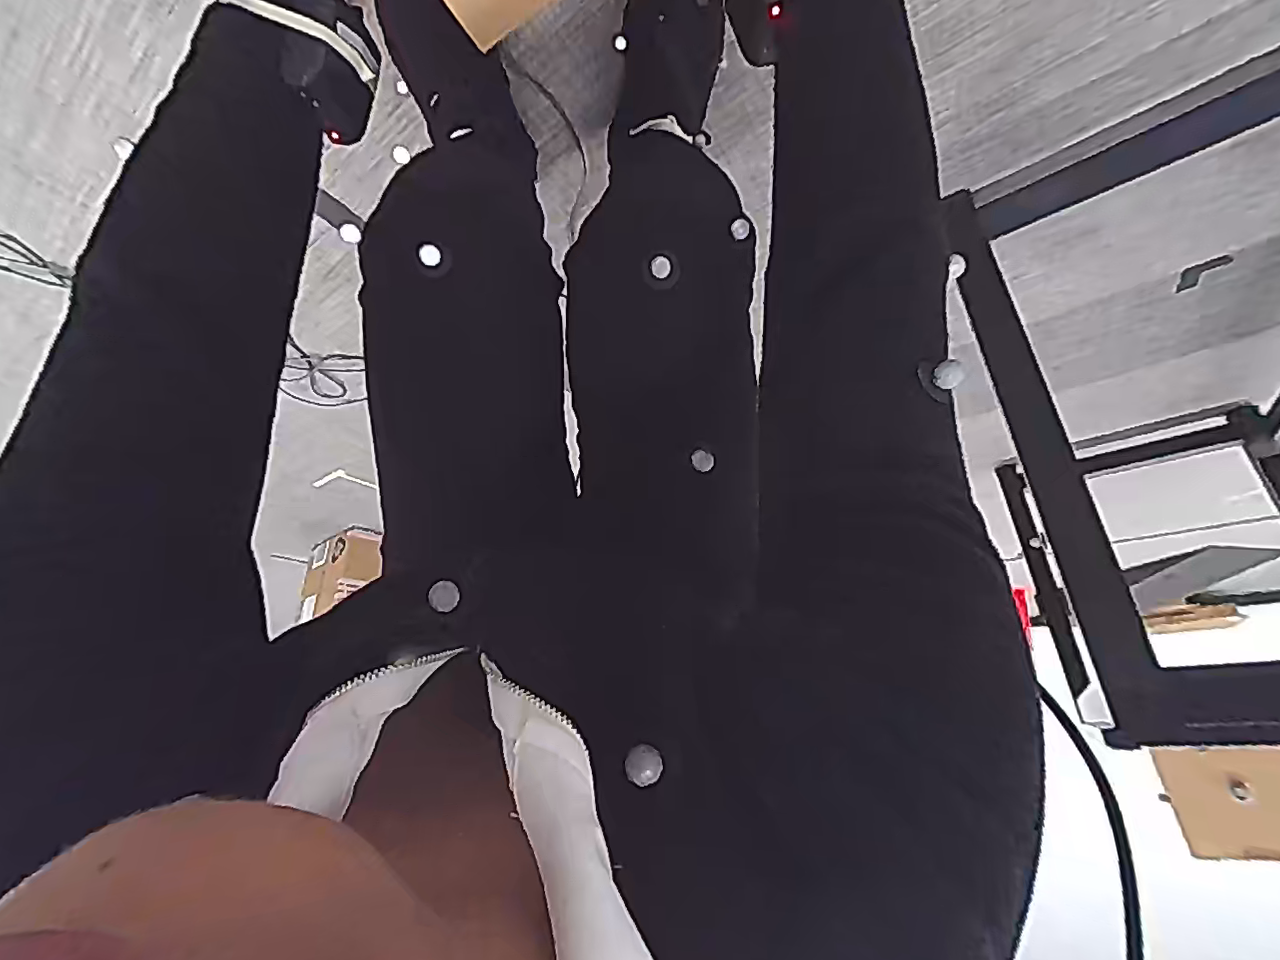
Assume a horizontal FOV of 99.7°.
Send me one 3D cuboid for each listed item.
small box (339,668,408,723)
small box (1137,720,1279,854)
[{"bbox_3d":[-0.988,0.806,2.018,0.179,0.176,0.168,-24,148,31],"label":"small box"},{"bbox_3d":[0.921,0.475,0.849,0.168,0.176,0.179,-21,148,34],"label":"small box"}]
